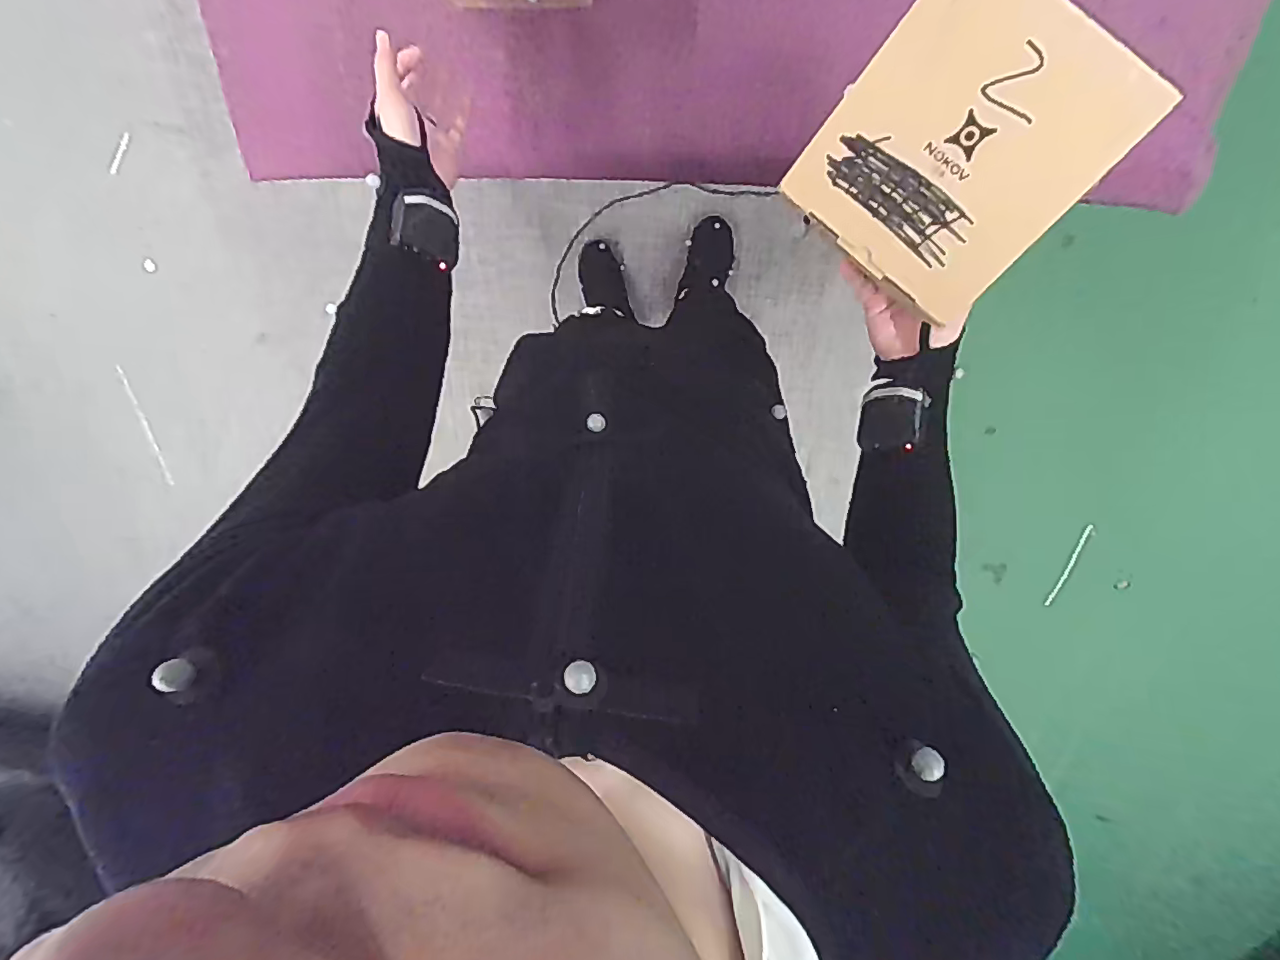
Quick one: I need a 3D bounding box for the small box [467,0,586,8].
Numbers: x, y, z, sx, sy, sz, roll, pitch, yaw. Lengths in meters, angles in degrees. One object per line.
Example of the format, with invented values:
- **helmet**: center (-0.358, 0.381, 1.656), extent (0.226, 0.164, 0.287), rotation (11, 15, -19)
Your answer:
- **small box**: center (-0.145, -0.595, 0.529), extent (0.168, 0.176, 0.179), rotation (6, 118, 5)
